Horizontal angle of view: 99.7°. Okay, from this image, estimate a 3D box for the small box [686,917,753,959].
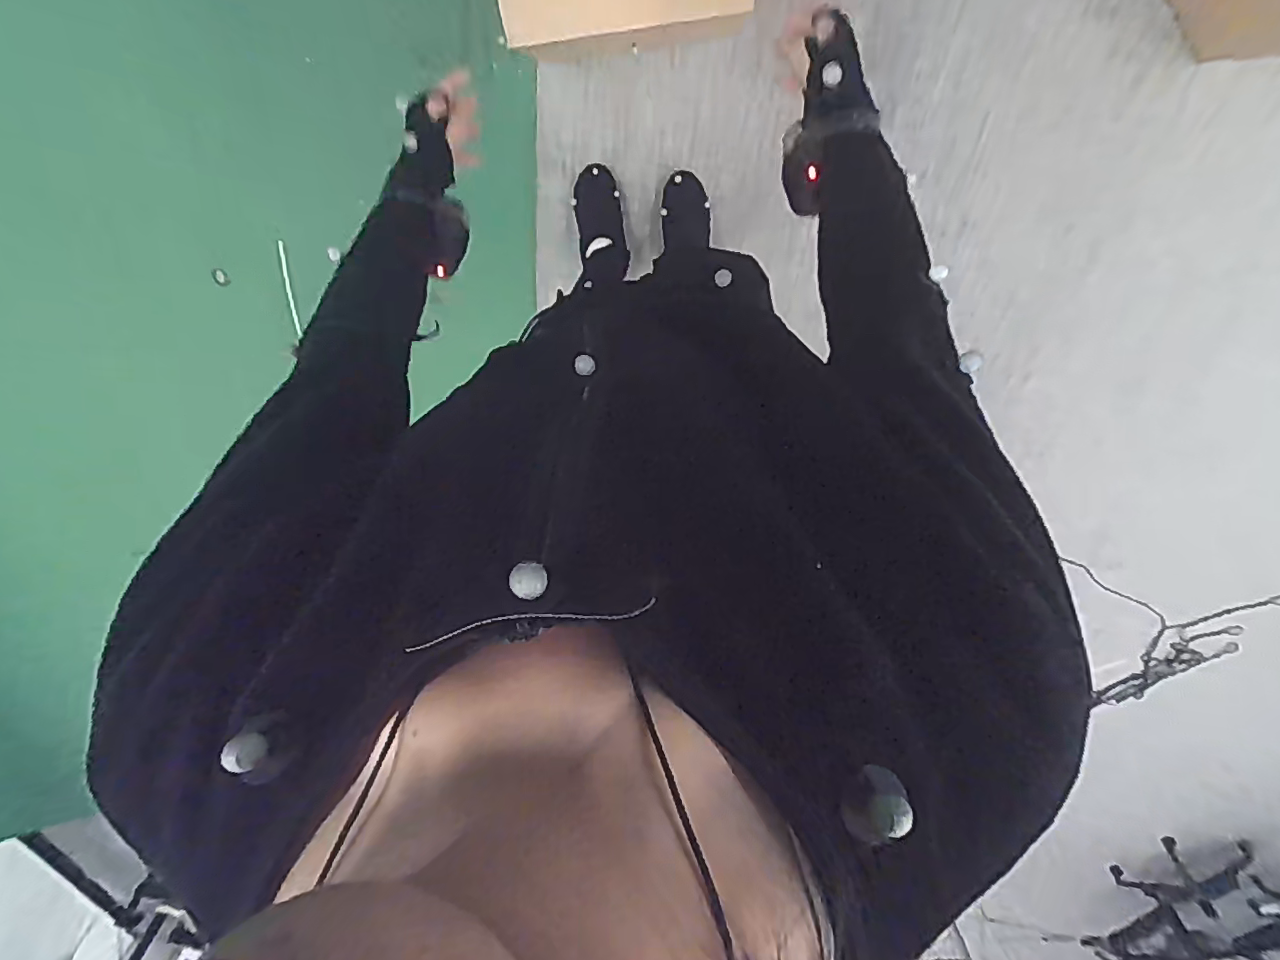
[{"bbox_3d":[0.233,1.435,1.602,0.168,0.176,0.179,9,121,-2],"label":"small box"}]

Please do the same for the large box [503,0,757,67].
[{"bbox_3d":[-0.022,-0.928,0.911,0.408,0.320,0.320,-4,122,8],"label":"large box"}]
